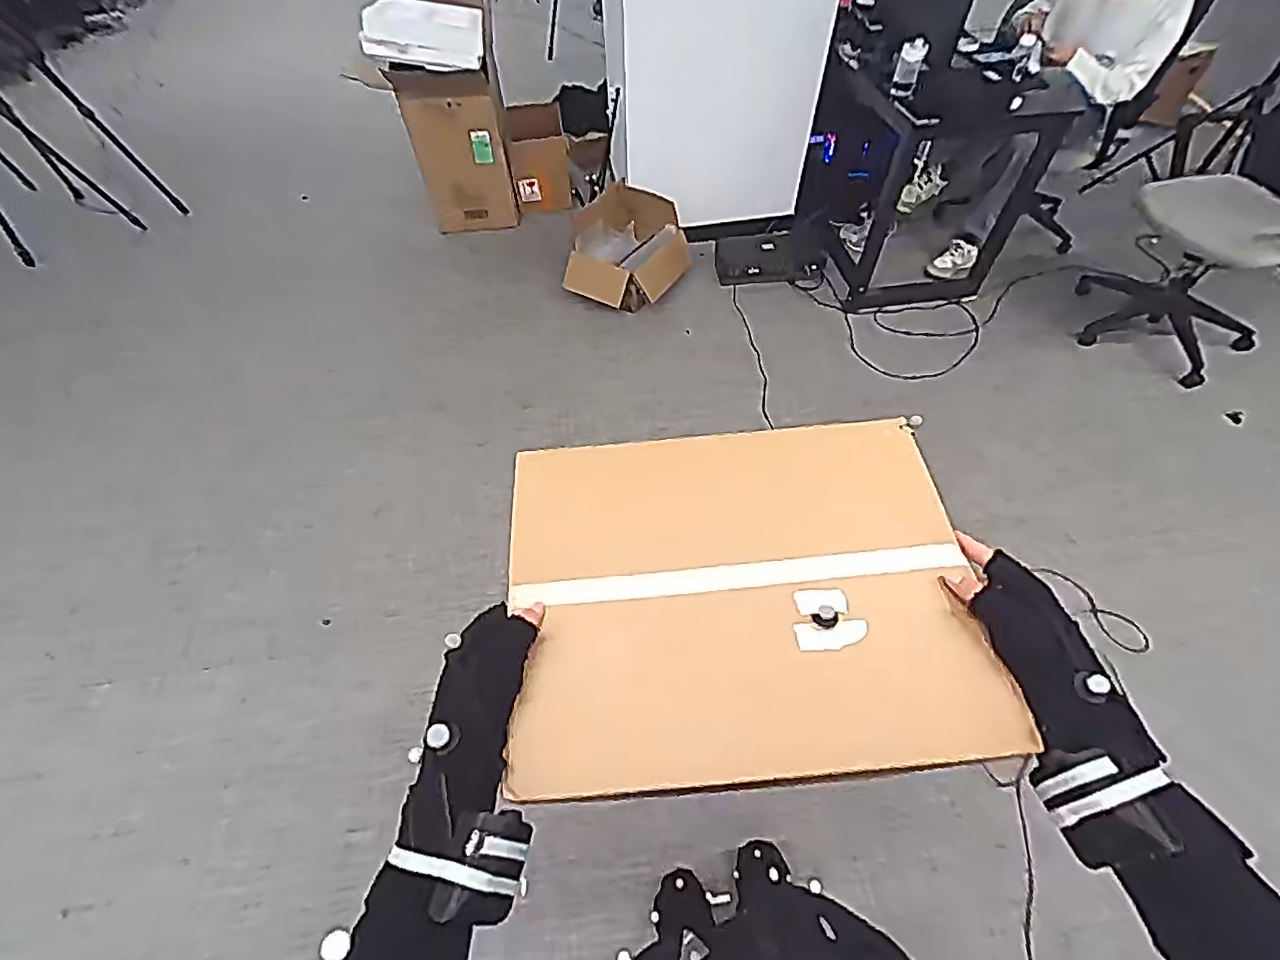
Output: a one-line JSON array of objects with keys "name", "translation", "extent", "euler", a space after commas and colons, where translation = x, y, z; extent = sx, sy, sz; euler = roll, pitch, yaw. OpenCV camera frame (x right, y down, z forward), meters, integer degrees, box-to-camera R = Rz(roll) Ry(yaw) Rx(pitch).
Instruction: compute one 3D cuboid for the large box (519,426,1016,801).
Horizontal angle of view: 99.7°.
[{"name": "large box", "translation": [0.092, 0.169, 0.625], "extent": [0.408, 0.320, 0.320], "euler": [-5, 59, -1]}]
